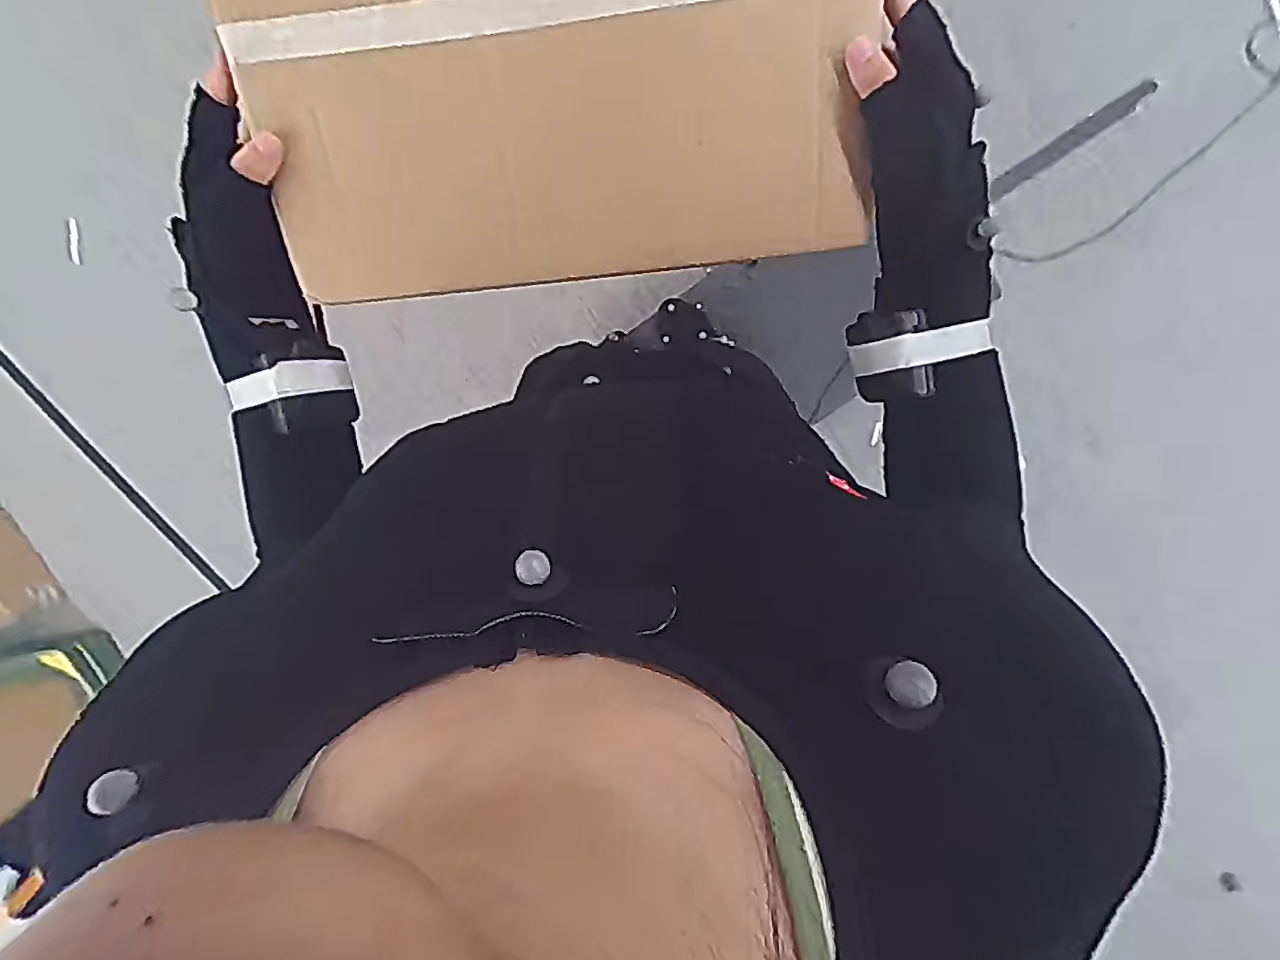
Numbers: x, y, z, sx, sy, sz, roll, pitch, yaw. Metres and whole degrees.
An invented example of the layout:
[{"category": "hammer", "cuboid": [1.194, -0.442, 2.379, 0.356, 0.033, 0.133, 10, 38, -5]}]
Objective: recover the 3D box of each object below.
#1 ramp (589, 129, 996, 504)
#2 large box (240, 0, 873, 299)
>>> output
[{"category": "ramp", "cuboid": [0.401, -0.405, 1.429, 0.991, 0.206, 0.509, -35, 100, 15]}, {"category": "large box", "cuboid": [-0.048, -0.352, 0.477, 0.408, 0.320, 0.320, -4, 112, 3]}]
